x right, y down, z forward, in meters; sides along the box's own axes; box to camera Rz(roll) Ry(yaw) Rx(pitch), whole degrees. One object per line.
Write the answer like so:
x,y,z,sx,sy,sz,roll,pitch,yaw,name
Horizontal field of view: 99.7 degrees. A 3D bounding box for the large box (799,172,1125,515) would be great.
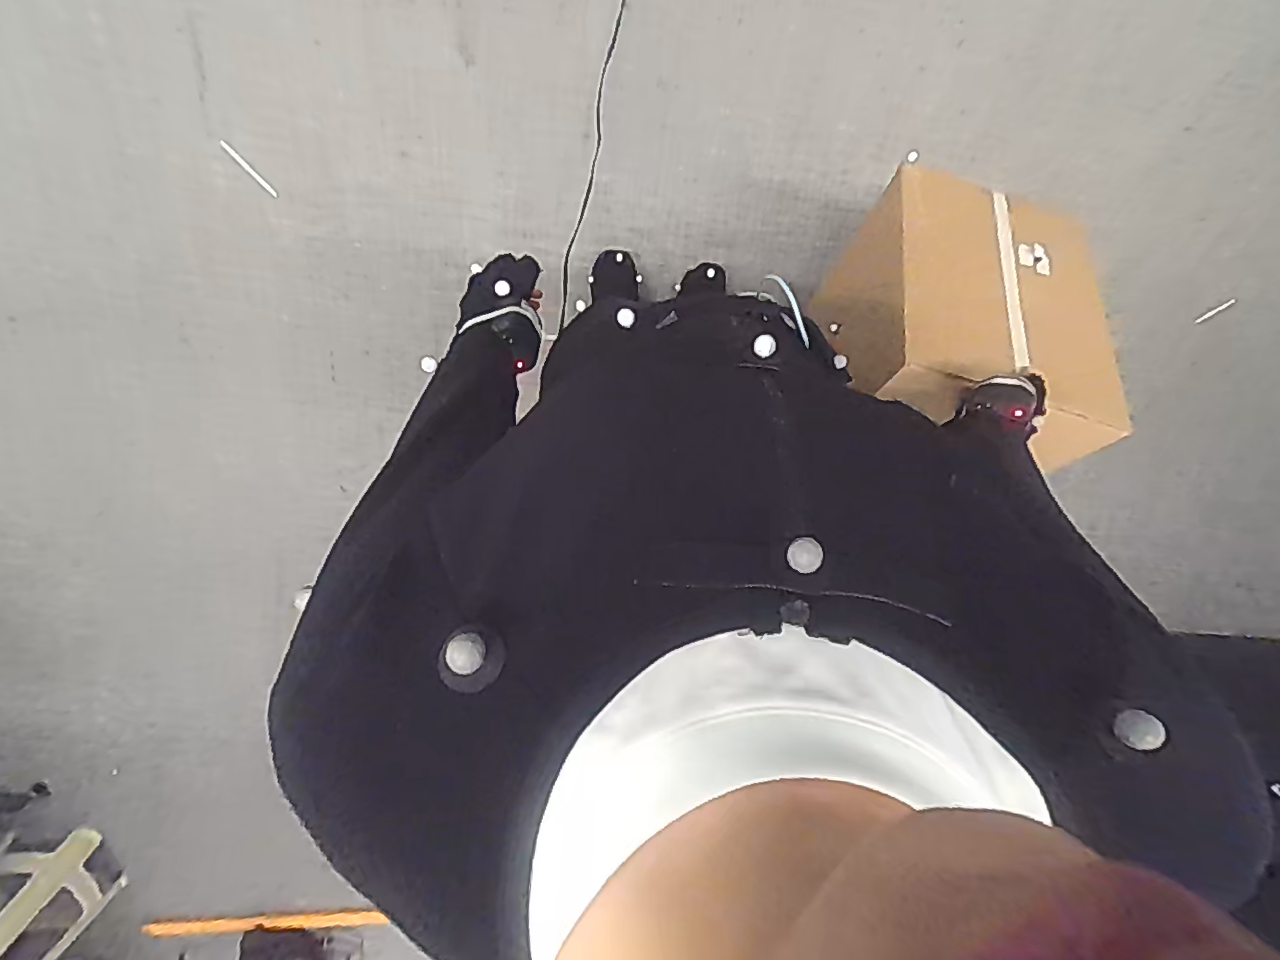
0.479,-0.205,0.892,0.320,0.408,0.320,16,153,-5,large box
